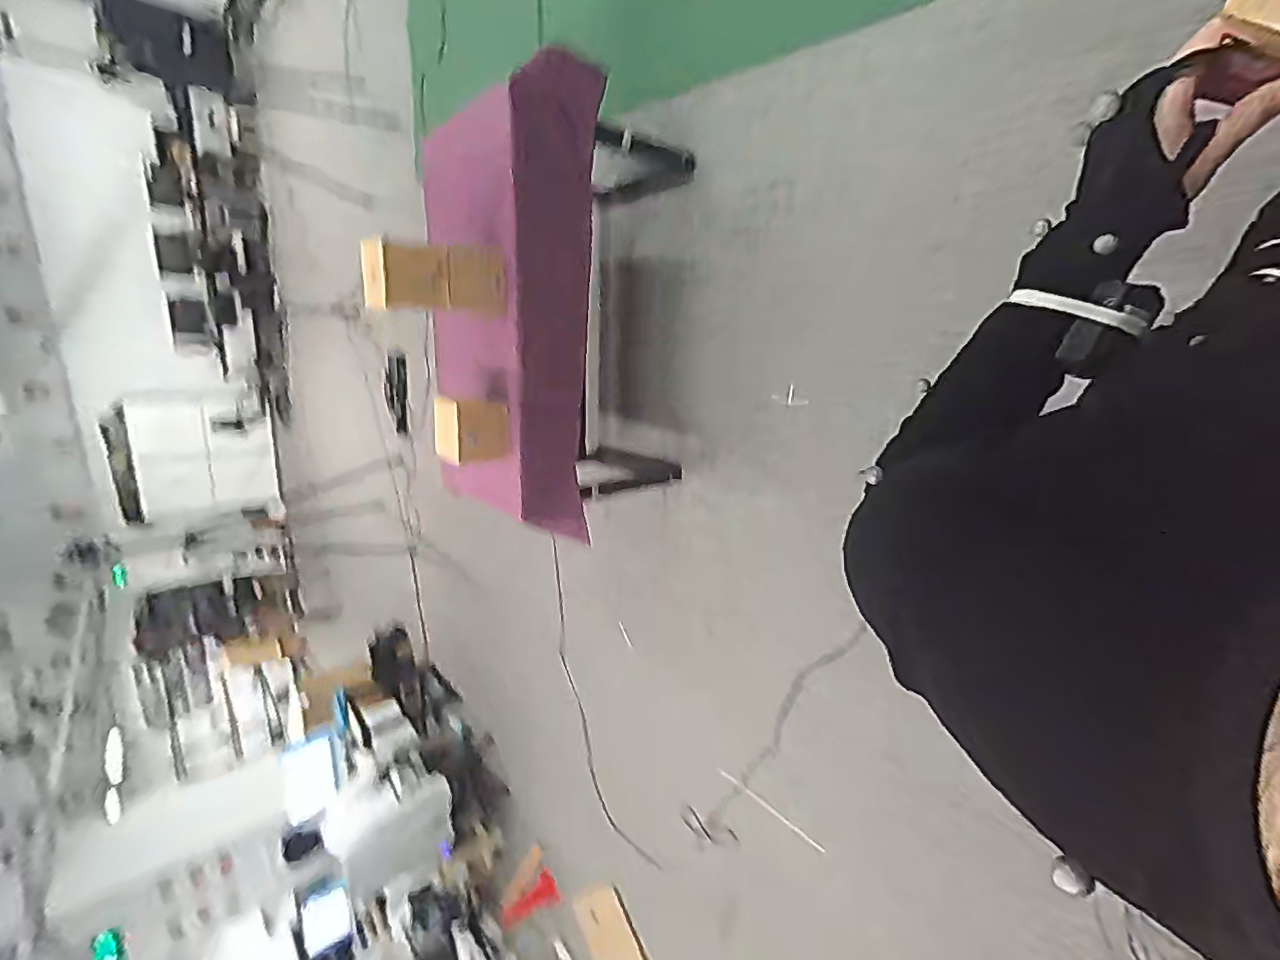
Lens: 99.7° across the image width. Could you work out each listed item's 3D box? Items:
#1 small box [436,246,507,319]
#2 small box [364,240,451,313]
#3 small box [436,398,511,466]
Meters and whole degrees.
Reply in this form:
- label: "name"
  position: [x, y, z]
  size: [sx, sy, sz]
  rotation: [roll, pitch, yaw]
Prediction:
- label: "small box"
  position: [-0.495, -0.562, 1.556]
  size: [0.168, 0.176, 0.179]
  rotation: [19, 111, 46]
- label: "small box"
  position: [-0.624, -0.542, 1.457]
  size: [0.179, 0.176, 0.168]
  rotation: [19, 112, 44]
- label: "small box"
  position: [-0.508, -0.152, 1.652]
  size: [0.168, 0.176, 0.179]
  rotation: [20, 111, 44]
